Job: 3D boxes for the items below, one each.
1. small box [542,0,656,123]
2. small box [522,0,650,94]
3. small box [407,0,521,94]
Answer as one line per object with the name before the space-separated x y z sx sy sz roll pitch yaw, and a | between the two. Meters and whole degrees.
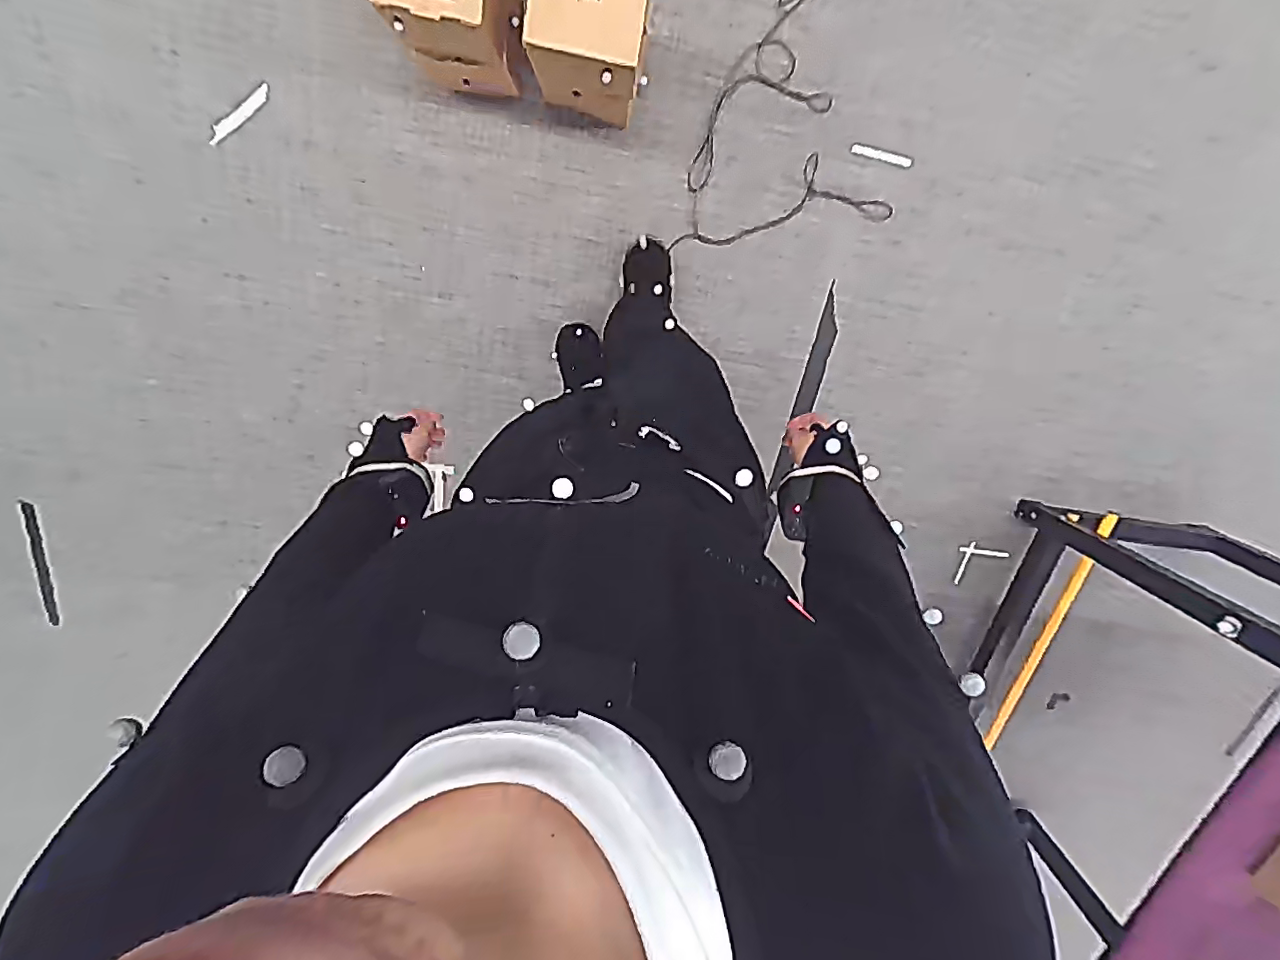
small box | -0.083 -0.795 1.002 0.179 0.176 0.168 15 109 -9
small box | -0.076 -0.737 0.848 0.179 0.176 0.168 9 109 -6
small box | -0.312 -0.835 0.978 0.168 0.176 0.179 3 111 -4
